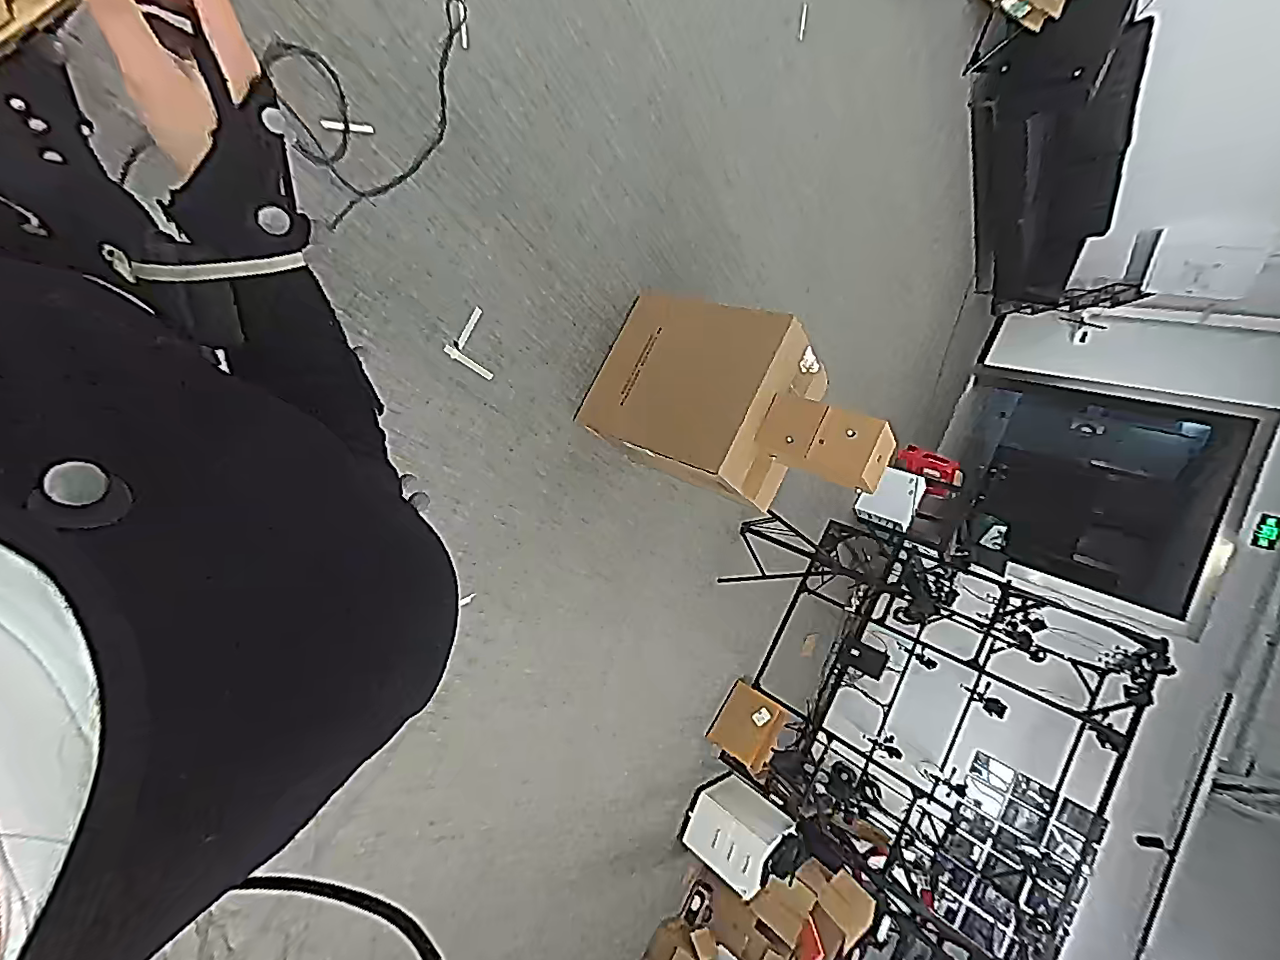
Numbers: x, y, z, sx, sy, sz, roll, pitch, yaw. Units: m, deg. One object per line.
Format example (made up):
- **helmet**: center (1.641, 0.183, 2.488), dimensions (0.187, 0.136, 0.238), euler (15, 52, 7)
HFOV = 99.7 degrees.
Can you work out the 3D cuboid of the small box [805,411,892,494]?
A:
- **small box**: center (0.588, -0.081, 1.530), dimensions (0.179, 0.176, 0.168), euler (31, 84, -54)
